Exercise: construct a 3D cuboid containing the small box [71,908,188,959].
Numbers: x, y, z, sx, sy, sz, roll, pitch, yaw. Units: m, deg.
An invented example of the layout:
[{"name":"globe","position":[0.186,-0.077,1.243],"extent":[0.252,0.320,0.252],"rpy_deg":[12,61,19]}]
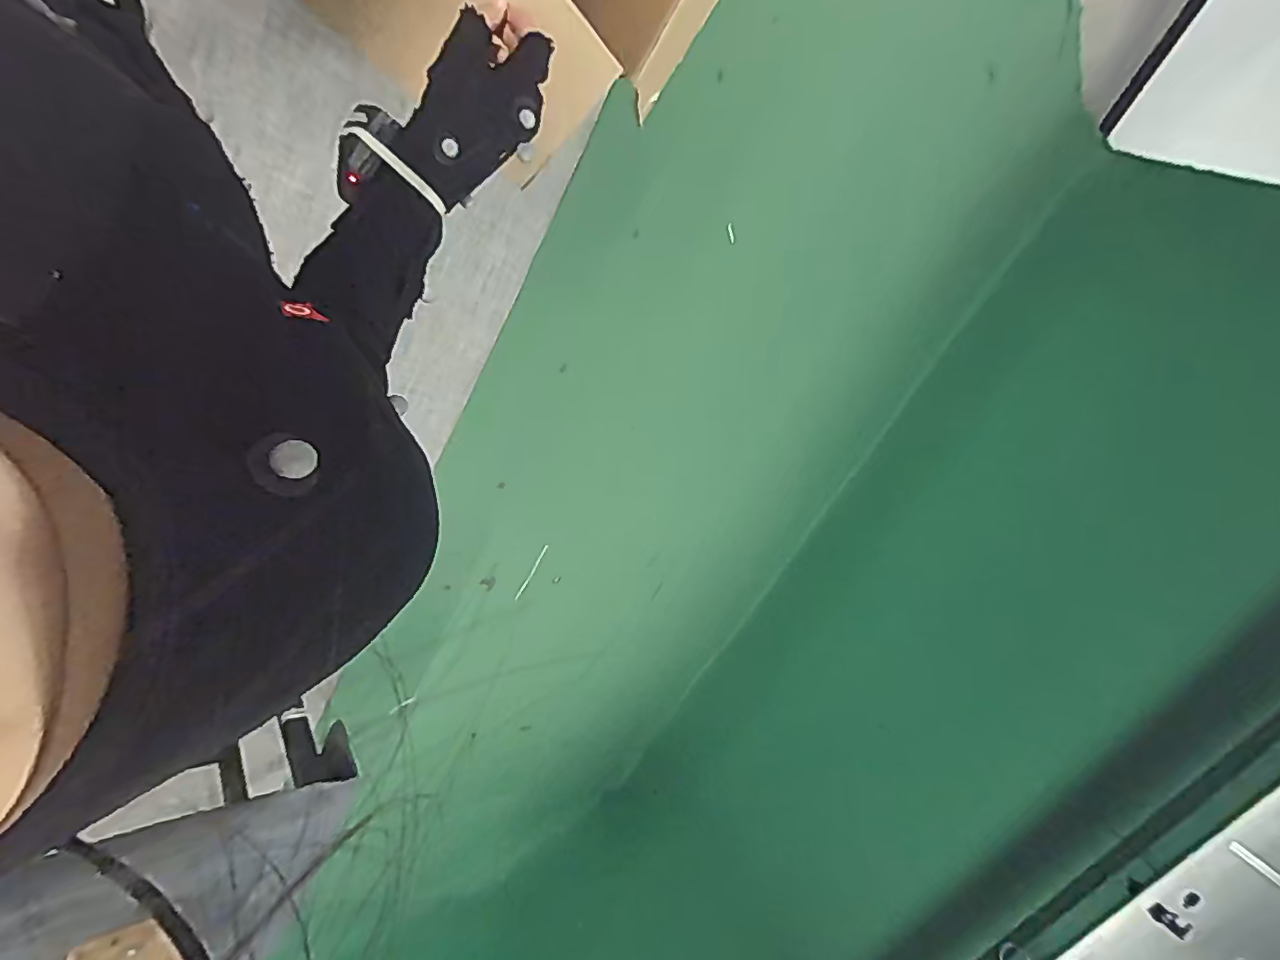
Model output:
[{"name":"small box","position":[-1.009,1.003,1.061],"extent":[0.168,0.176,0.179],"rpy_deg":[9,118,-50]}]
